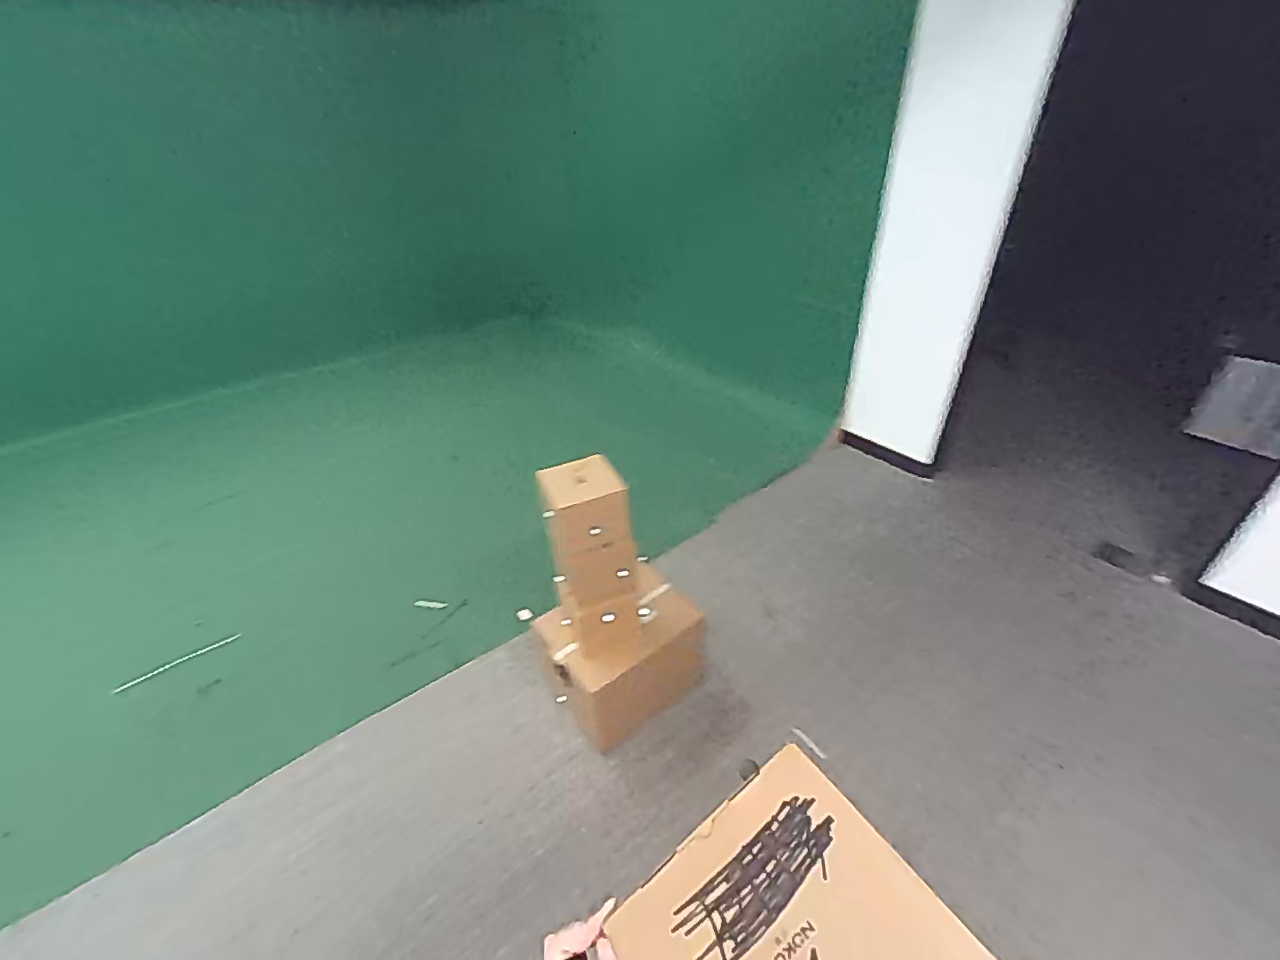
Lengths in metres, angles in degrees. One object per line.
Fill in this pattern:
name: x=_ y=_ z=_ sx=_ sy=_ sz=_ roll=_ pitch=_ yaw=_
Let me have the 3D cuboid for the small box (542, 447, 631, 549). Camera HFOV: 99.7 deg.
small box: x=-0.127 y=0.049 z=1.314 sx=0.168 sy=0.176 sz=0.179 roll=-16 pitch=37 yaw=-17

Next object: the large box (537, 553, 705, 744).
large box: x=-0.049 y=0.501 z=1.655 sx=0.408 sy=0.320 sz=0.320 roll=-26 pitch=42 yaw=-29

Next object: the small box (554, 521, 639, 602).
small box: x=-0.110 y=0.184 z=1.405 sx=0.179 sy=0.176 sz=0.168 roll=-18 pitch=37 yaw=-17

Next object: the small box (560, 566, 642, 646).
small box: x=-0.105 y=0.322 z=1.492 sx=0.179 sy=0.176 sz=0.168 roll=-19 pitch=38 yaw=-20
